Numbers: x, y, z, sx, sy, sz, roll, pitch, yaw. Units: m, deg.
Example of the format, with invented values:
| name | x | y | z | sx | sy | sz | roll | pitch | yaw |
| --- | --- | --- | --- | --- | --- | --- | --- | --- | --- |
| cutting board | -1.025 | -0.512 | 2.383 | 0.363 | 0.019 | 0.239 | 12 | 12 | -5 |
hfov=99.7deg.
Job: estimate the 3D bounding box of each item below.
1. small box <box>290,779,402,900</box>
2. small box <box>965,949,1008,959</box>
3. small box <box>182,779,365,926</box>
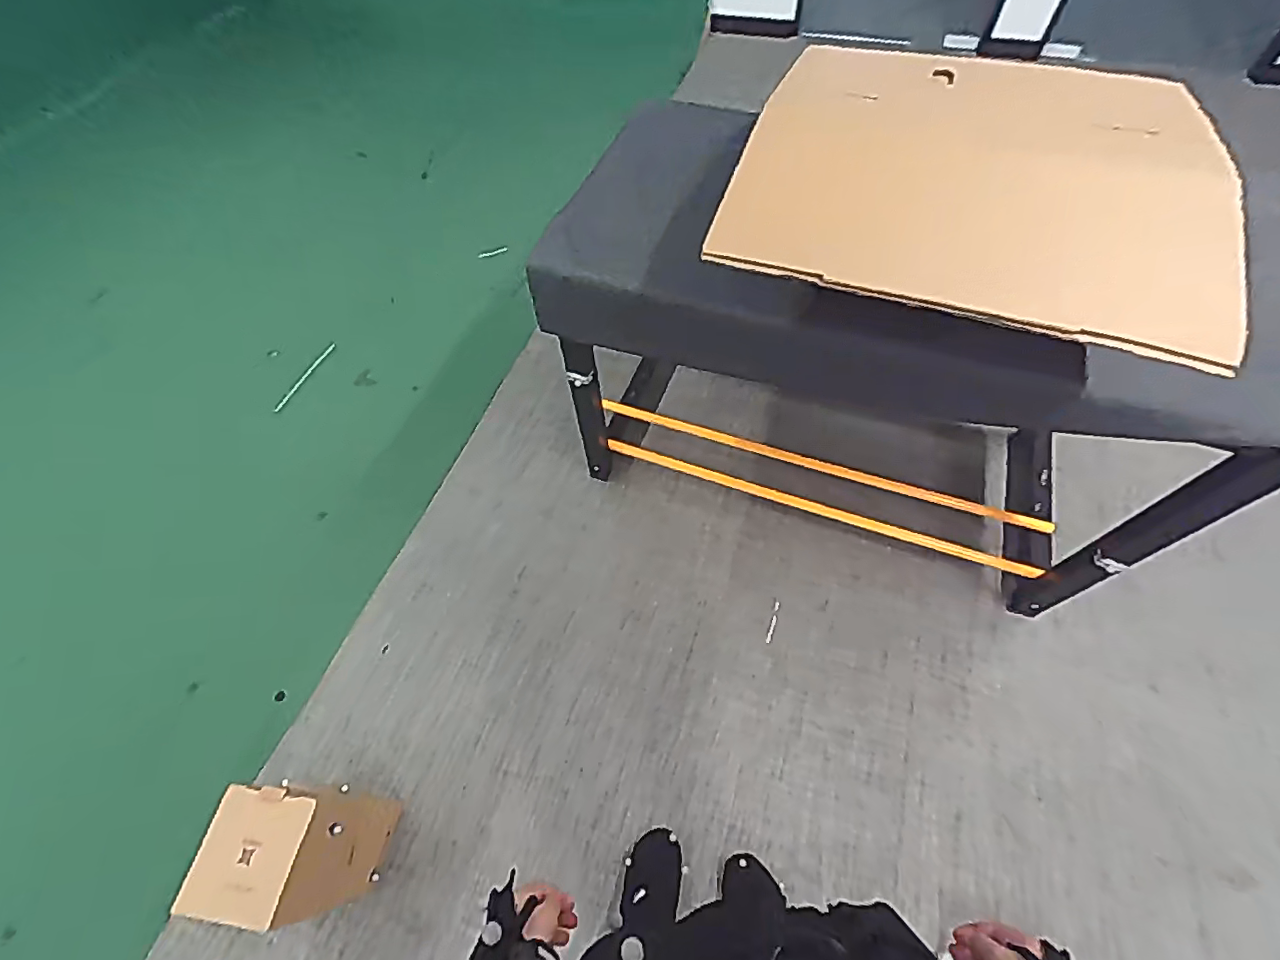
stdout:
| name | x | y | z | sx | sy | sz | roll | pitch | yaw |
| --- | --- | --- | --- | --- | --- | --- | --- | --- | --- |
| small box | -0.607 | 0.704 | 1.073 | 0.179 | 0.176 | 0.168 | 7 | 59 | 8 |
| small box | 0.655 | 0.912 | 0.884 | 0.168 | 0.176 | 0.179 | 12 | 60 | 10 |
| small box | -0.608 | 0.627 | 0.929 | 0.168 | 0.176 | 0.179 | 4 | 60 | 8 |
